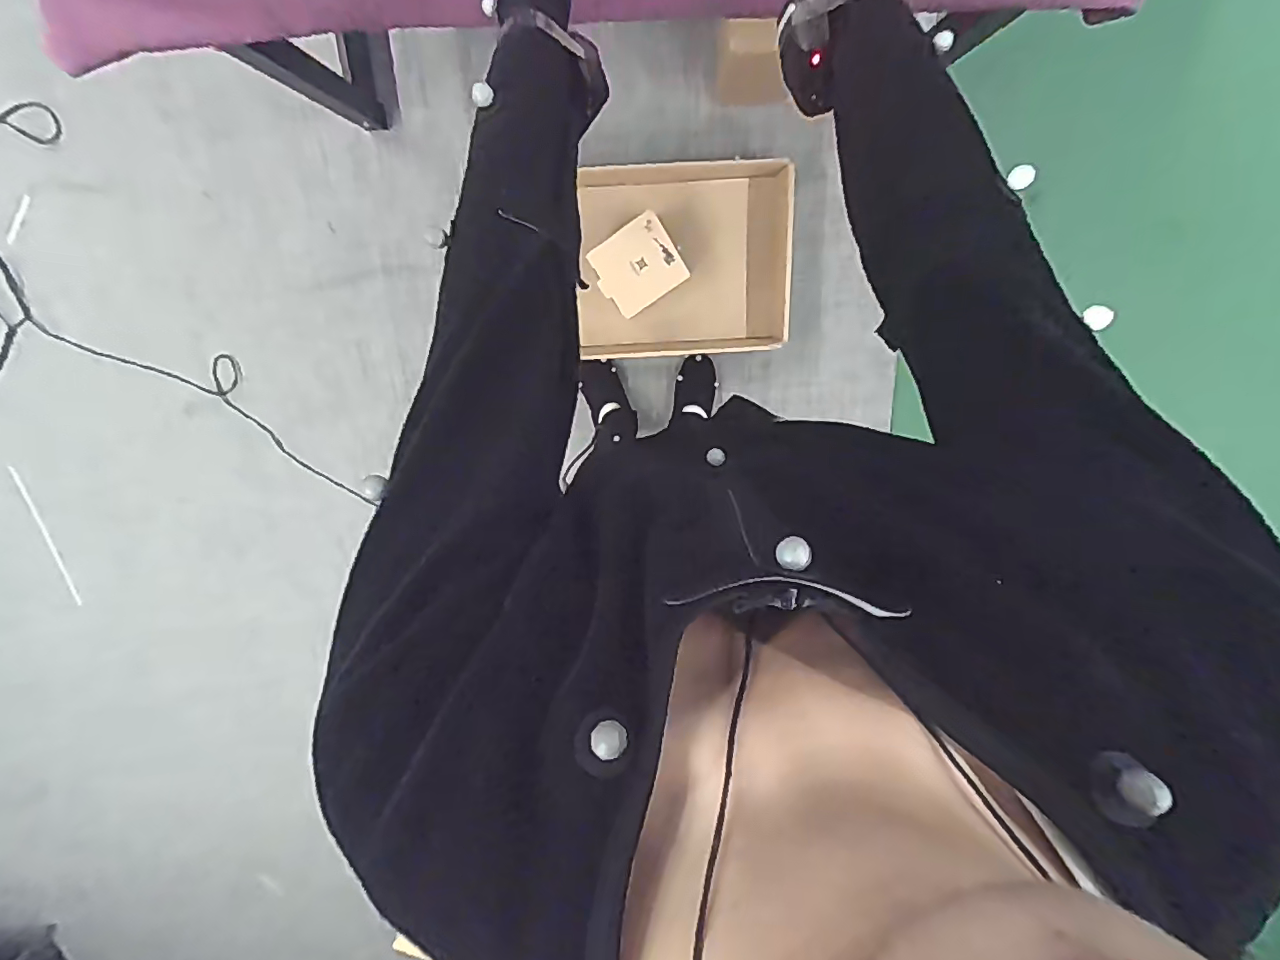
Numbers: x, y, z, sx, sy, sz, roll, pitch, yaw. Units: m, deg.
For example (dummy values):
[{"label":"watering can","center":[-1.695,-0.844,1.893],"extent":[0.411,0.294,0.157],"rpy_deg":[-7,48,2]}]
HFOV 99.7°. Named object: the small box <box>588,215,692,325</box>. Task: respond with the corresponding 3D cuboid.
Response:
[{"label":"small box","center":[0.003,-0.477,1.248],"extent":[0.179,0.176,0.168],"rpy_deg":[-31,106,11]}]
